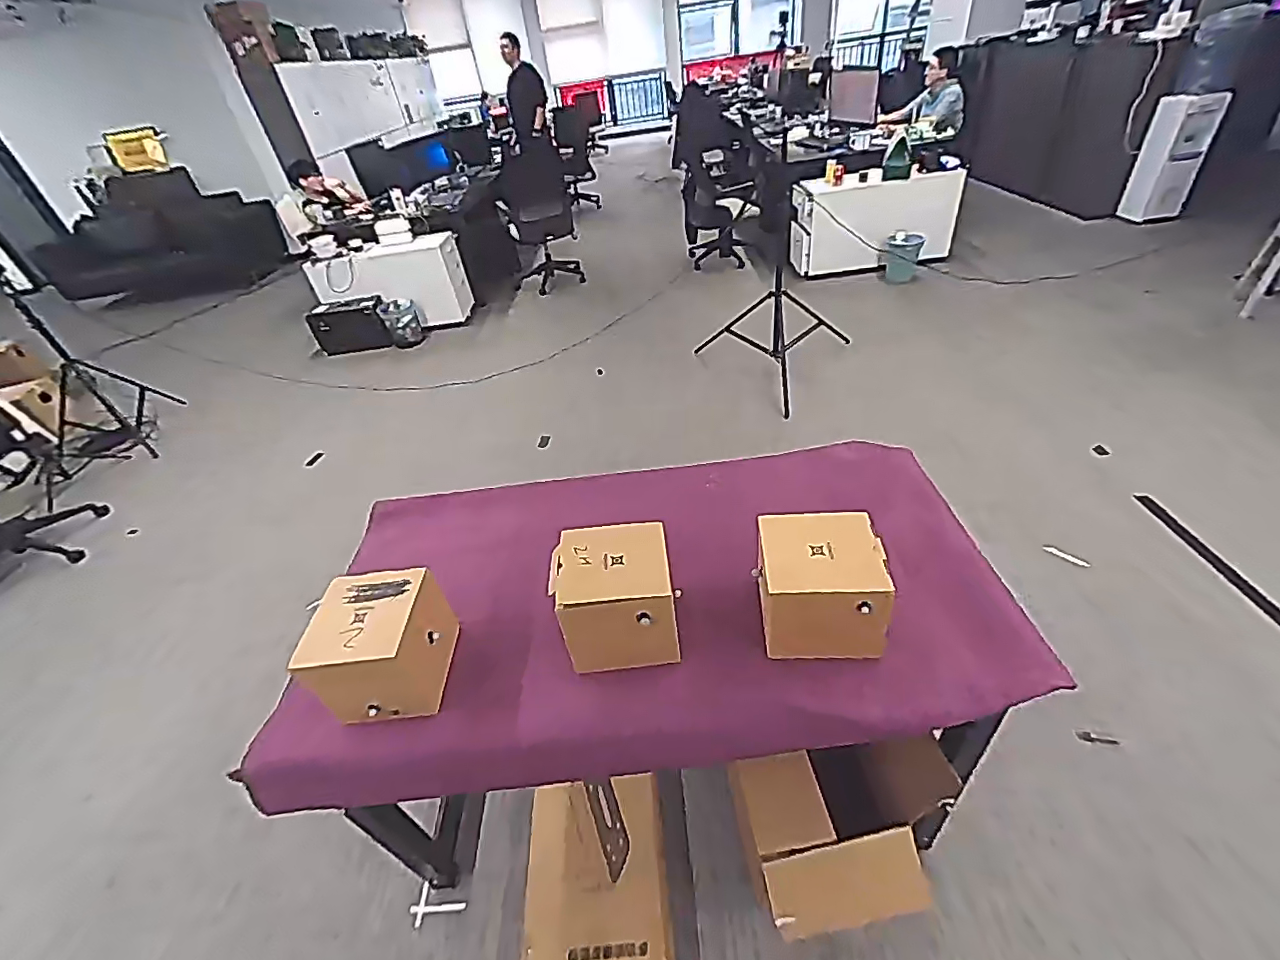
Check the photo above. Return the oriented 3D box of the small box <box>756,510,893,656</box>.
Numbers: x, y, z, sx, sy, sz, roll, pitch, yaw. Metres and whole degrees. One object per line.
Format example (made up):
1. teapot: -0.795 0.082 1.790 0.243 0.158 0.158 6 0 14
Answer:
1. small box: 0.283 0.167 0.869 0.179 0.176 0.168 -3 39 7

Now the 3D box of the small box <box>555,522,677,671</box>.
1. small box: -0.033 0.194 0.899 0.179 0.176 0.168 -8 36 2
